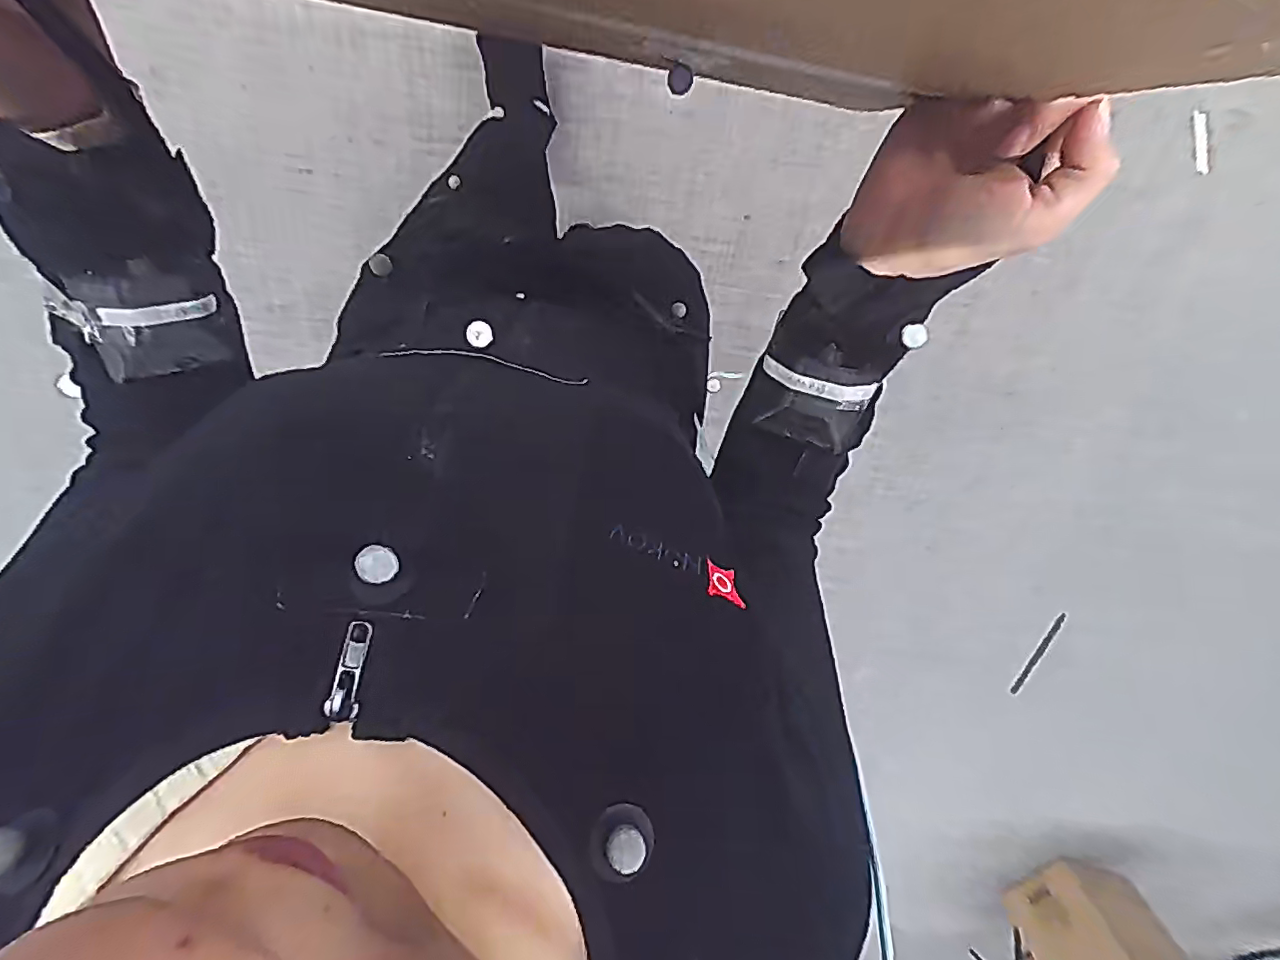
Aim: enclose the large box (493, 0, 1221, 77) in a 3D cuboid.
[{"bbox_3d":[-0.018,-0.328,0.119,0.408,0.320,0.320,5,123,-8],"label":"large box"}]
